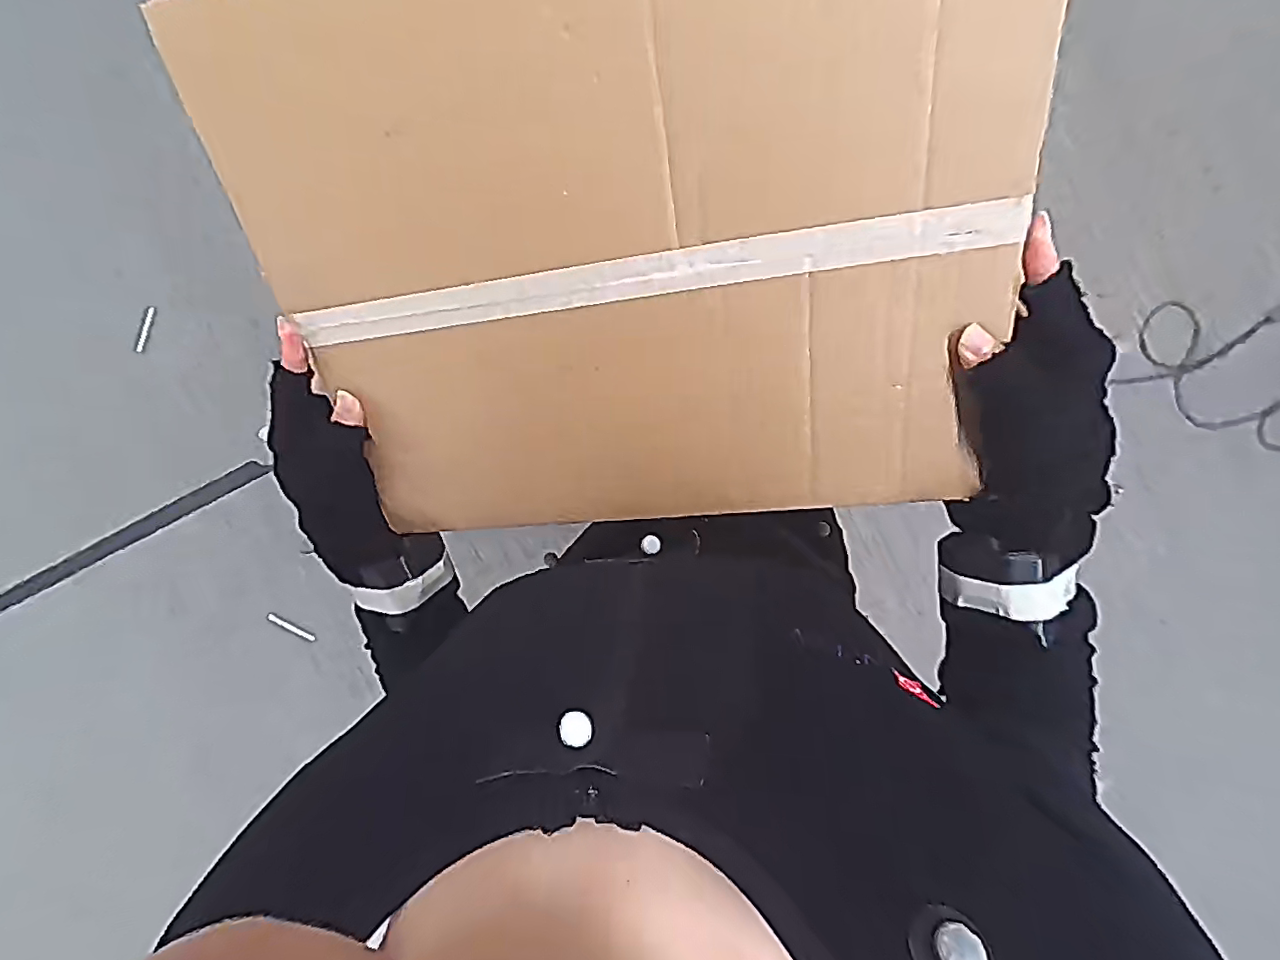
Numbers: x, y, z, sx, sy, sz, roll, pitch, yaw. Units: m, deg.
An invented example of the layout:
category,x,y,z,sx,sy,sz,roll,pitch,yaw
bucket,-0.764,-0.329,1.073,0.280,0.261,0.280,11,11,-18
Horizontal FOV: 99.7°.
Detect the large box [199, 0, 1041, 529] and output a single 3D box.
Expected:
category,x,y,z,sx,sy,sz,roll,pitch,yaw
large box,0.007,-0.185,0.434,0.408,0.320,0.320,-5,120,11
